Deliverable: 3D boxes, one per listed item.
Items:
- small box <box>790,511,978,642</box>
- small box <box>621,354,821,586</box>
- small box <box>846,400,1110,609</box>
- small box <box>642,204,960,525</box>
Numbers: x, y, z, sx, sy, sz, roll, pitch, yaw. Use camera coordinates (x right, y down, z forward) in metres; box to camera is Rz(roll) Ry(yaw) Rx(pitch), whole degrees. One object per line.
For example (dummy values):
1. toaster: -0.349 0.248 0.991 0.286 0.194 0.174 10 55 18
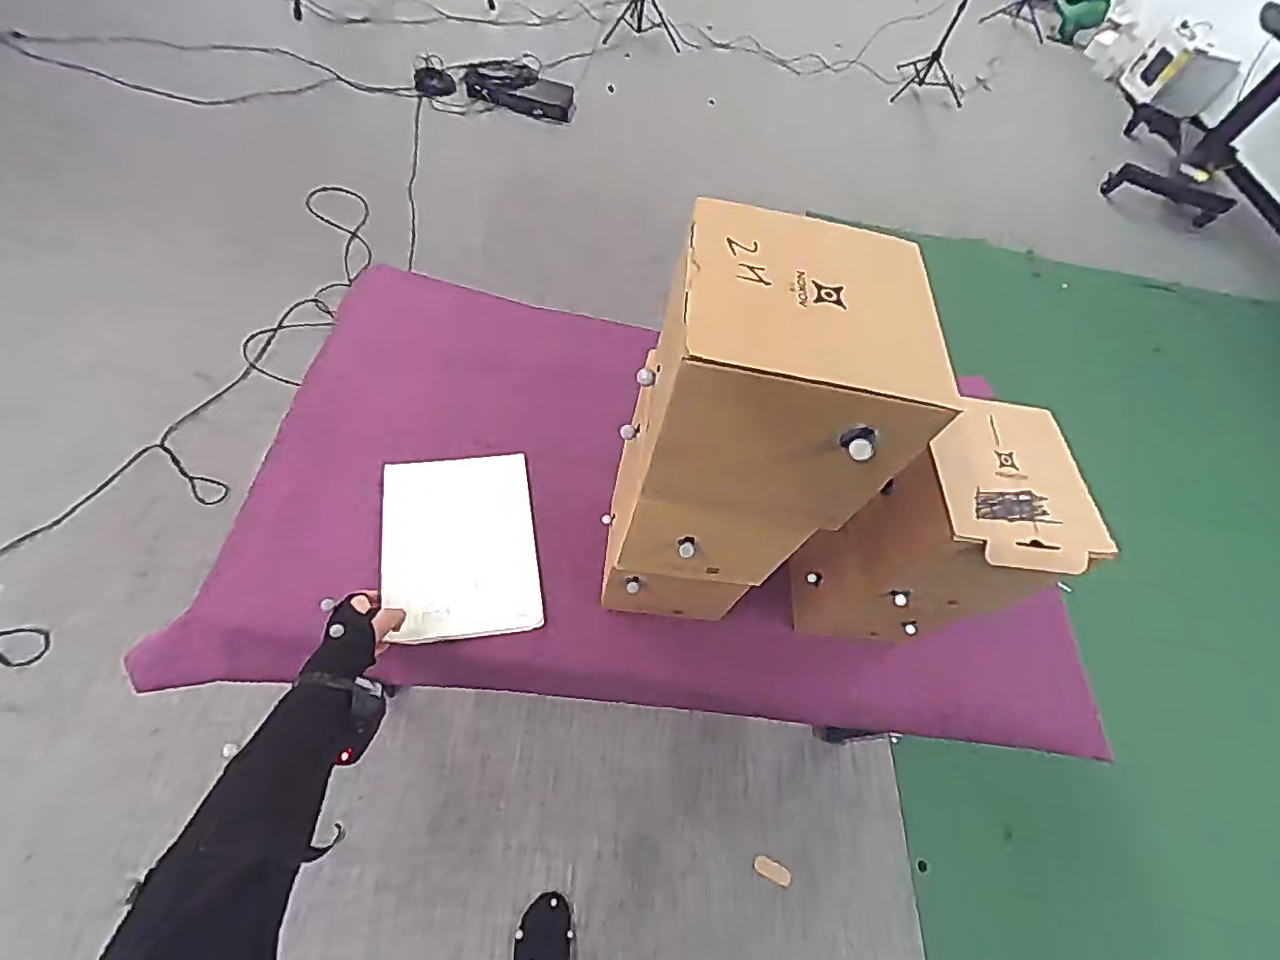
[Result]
1. small box: 0.317 0.111 0.742 0.168 0.176 0.179 9 58 -6
2. small box: 0.074 -0.002 0.572 0.168 0.176 0.179 8 58 -5
3. small box: 0.347 0.032 0.601 0.168 0.176 0.179 8 57 -7
4. small box: 0.107 -0.079 0.430 0.179 0.176 0.168 10 57 -4
